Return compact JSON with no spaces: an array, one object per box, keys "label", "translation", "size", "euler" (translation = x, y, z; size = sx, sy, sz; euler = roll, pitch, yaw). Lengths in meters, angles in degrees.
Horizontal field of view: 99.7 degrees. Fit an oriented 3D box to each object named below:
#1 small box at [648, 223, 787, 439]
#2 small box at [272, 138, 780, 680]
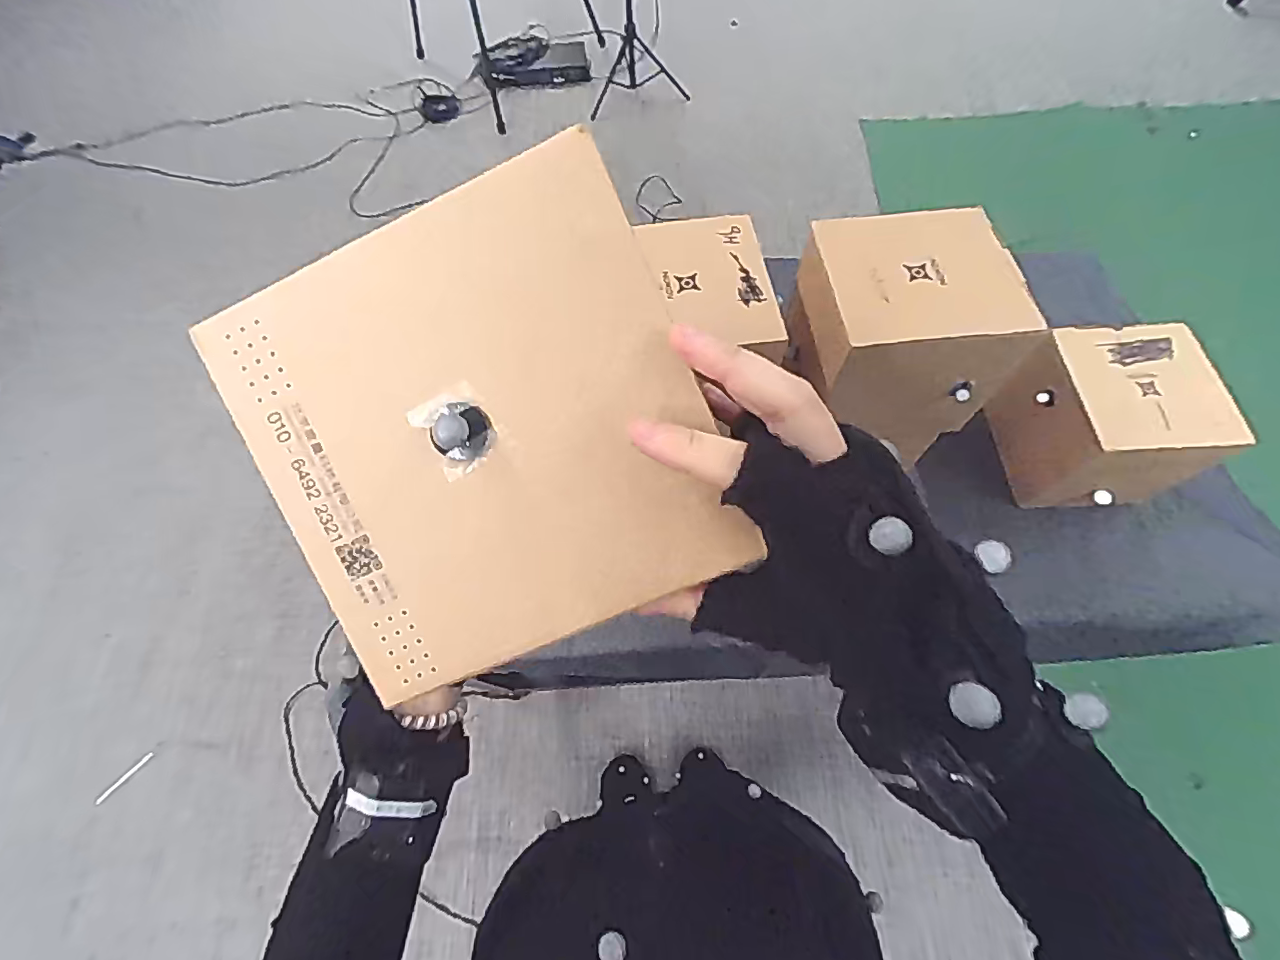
[{"label":"small box","translation":[0.045,-0.145,0.591],"size":[0.179,0.176,0.168],"euler":[-8,64,0]},{"label":"small box","translation":[-0.049,-0.025,0.287],"size":[0.176,0.179,0.168],"euler":[-23,95,7]}]
